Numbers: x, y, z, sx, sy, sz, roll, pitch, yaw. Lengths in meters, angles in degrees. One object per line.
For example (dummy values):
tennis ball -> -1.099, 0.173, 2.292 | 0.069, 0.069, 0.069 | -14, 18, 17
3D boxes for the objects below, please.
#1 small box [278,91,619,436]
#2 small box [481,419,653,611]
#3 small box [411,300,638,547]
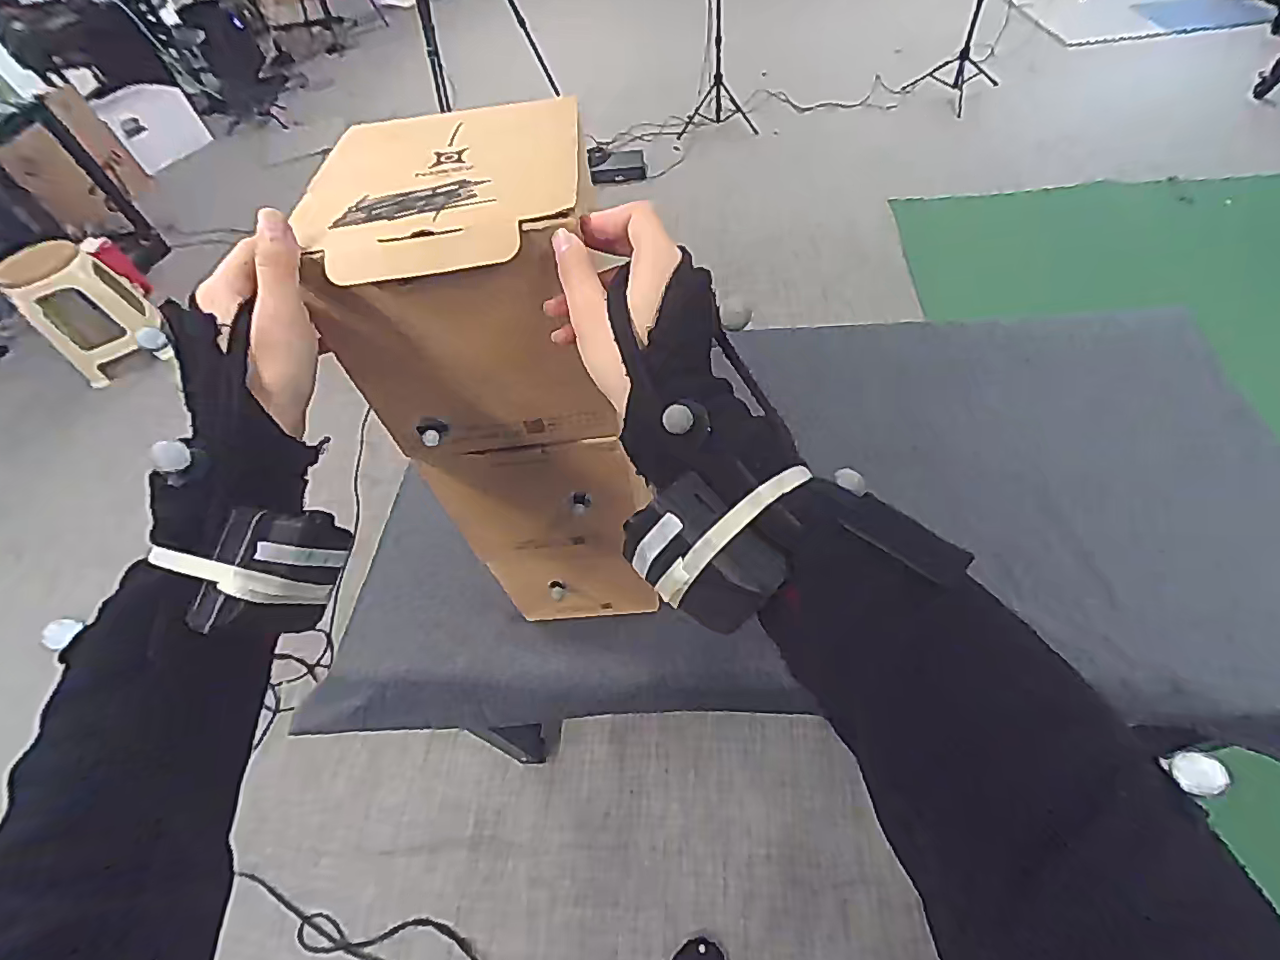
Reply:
small box -> -0.107, -0.145, 0.392 | 0.168, 0.176, 0.179 | -6, 52, 1
small box -> -0.074, 0.049, 0.653 | 0.168, 0.176, 0.179 | -5, 53, 3
small box -> -0.092, -0.046, 0.522 | 0.168, 0.176, 0.179 | -5, 52, 2
